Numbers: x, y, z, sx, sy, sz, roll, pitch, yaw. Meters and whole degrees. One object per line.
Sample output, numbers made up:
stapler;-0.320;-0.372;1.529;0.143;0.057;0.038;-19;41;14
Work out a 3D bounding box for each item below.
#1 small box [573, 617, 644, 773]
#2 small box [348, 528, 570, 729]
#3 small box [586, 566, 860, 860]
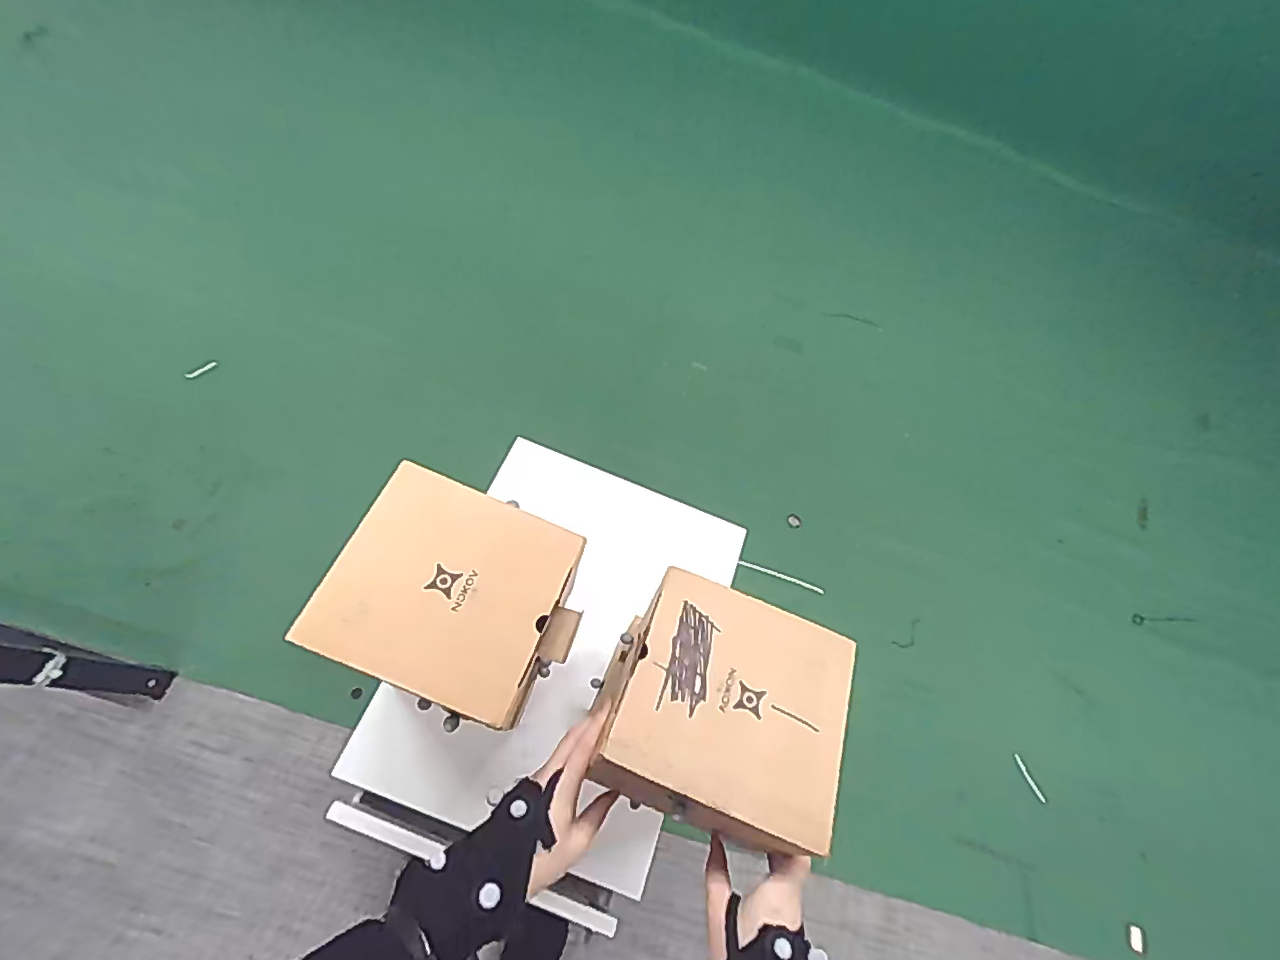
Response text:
small box;0.030;0.286;0.635;0.179;0.176;0.168;24;63;2
small box;-0.198;0.185;0.641;0.179;0.176;0.168;21;62;-1
small box;0.064;0.209;0.481;0.179;0.176;0.168;23;56;2
